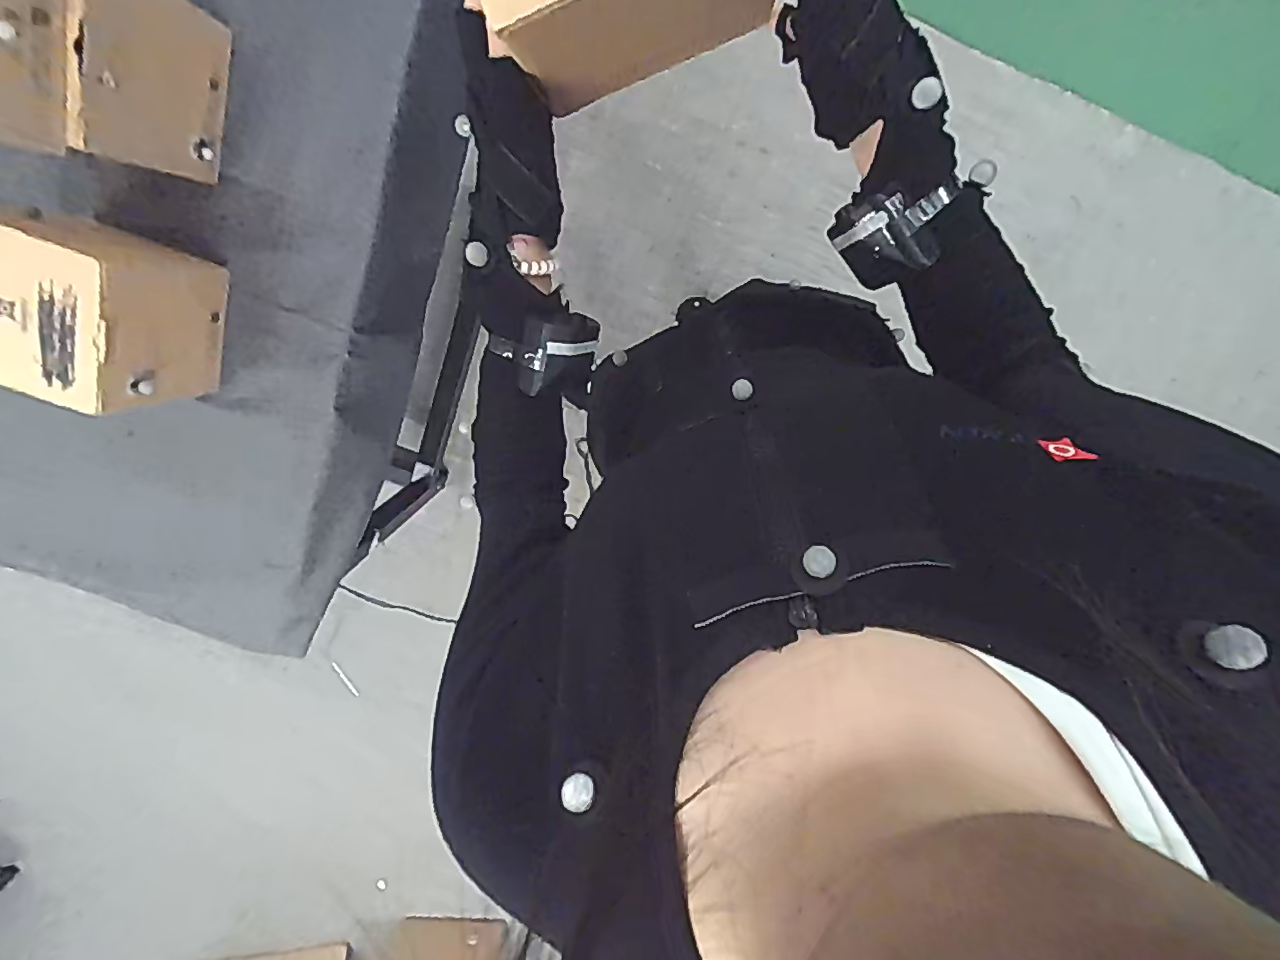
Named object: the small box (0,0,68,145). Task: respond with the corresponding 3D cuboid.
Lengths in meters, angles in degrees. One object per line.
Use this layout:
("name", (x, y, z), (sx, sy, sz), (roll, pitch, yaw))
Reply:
("small box", (-0.585, -0.373, 0.391), (0.179, 0.176, 0.168), (18, 109, -4))

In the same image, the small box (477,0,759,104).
("small box", (-0.019, -0.353, 0.306), (0.179, 0.176, 0.168), (-19, 109, 9))

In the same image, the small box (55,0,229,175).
("small box", (-0.561, -0.431, 0.543), (0.179, 0.176, 0.168), (20, 108, -4))
